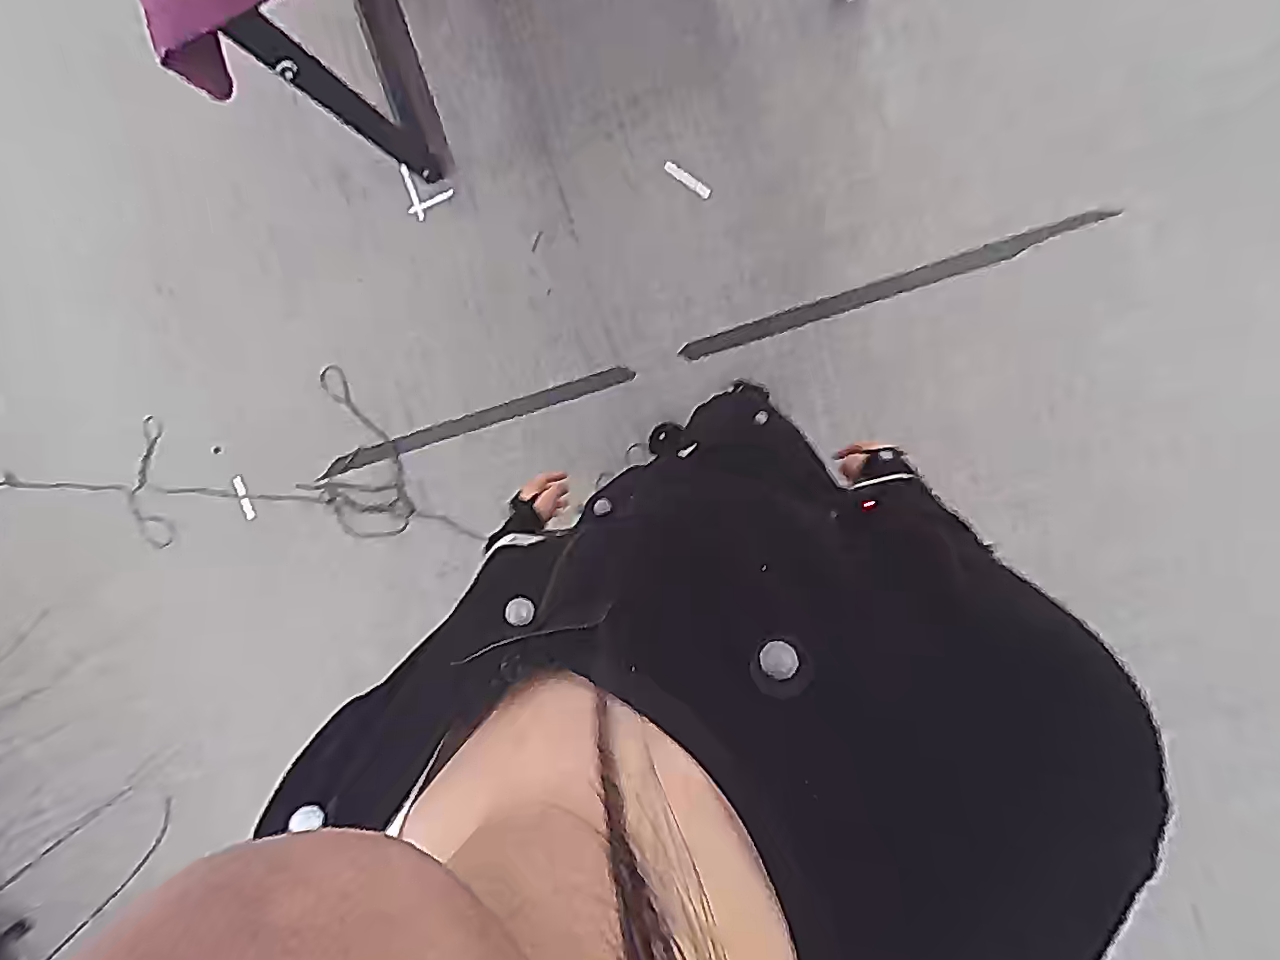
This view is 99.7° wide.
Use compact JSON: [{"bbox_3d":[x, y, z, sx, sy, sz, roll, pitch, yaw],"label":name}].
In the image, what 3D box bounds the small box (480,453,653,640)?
[{"bbox_3d":[-0.102,0.082,0.751,0.176,0.168,0.179,24,124,2],"label":"small box"}]
